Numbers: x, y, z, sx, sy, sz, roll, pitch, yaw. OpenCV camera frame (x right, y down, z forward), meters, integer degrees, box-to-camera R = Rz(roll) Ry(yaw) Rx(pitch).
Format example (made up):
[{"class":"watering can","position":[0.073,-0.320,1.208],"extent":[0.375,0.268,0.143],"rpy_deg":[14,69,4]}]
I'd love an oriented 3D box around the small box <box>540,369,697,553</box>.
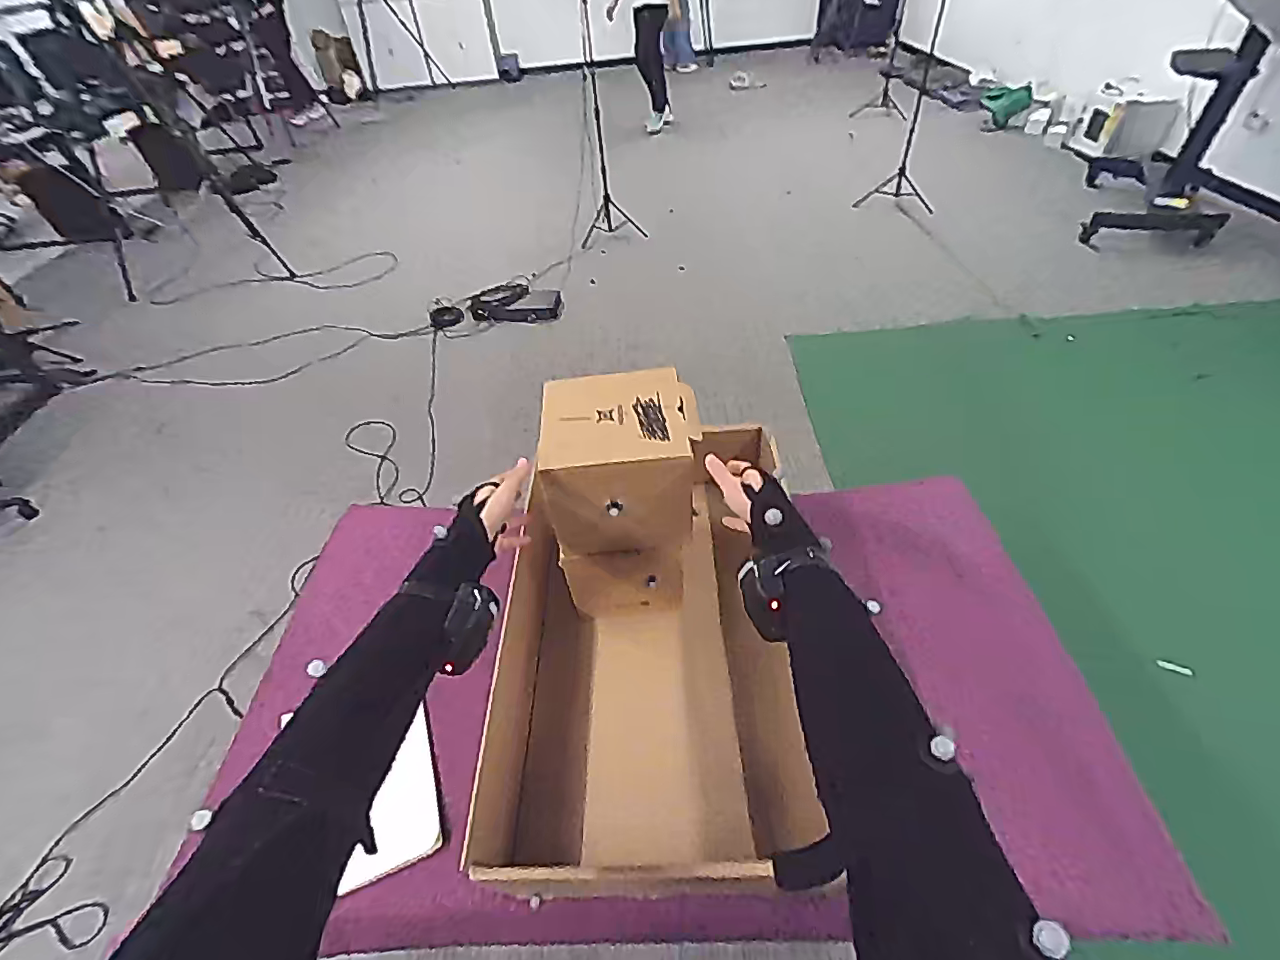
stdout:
[{"class":"small box","position":[-0.024,-0.022,0.705],"extent":[0.179,0.176,0.168],"rpy_deg":[-5,47,0]}]
